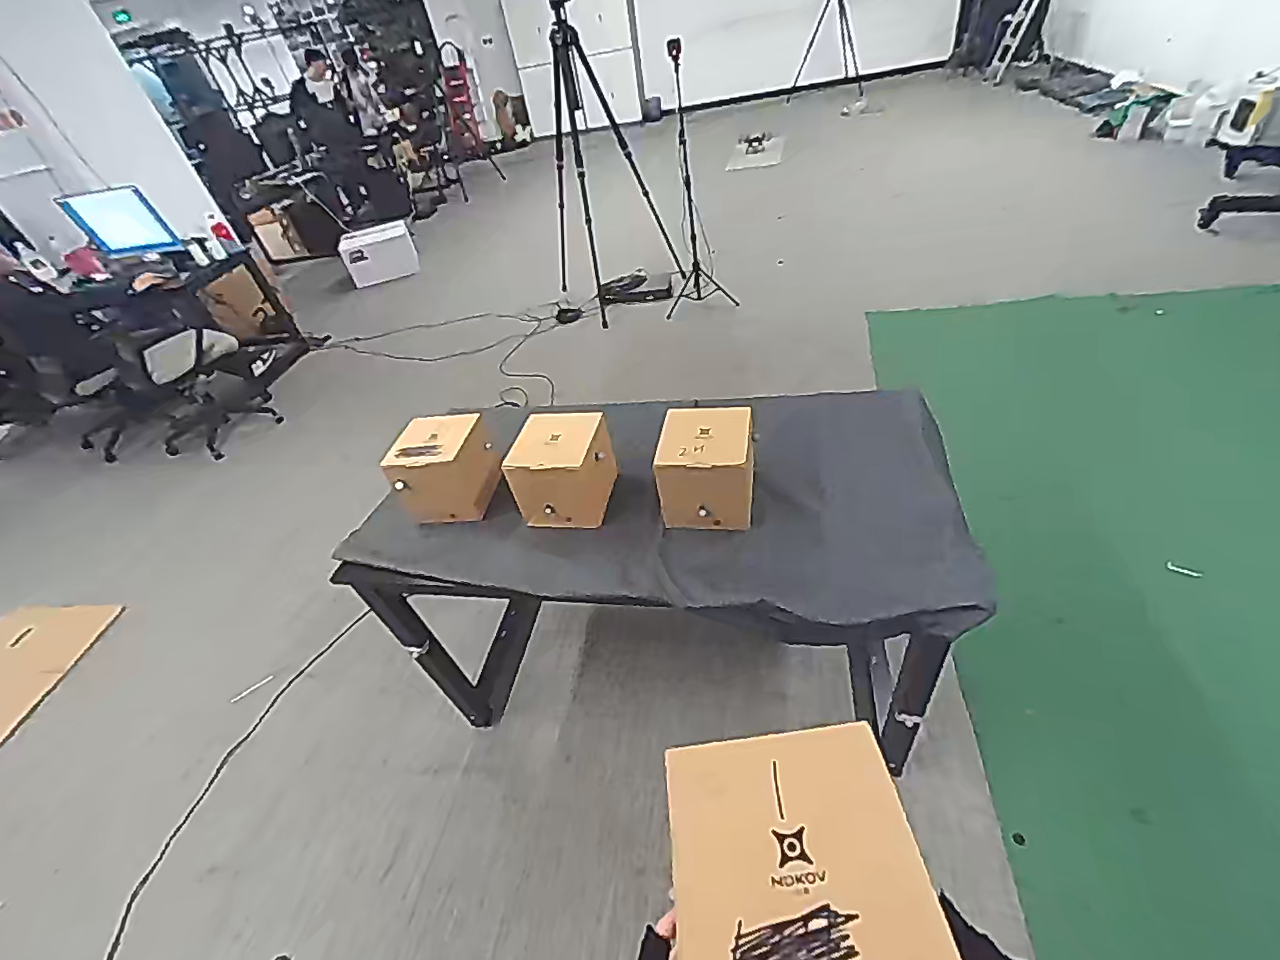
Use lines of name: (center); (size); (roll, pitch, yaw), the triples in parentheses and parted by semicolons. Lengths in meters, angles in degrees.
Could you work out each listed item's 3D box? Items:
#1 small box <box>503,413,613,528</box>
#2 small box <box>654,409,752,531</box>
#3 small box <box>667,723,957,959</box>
small box: (-0.160, -0.022, 1.129); (0.168, 0.176, 0.179); (1, 43, 14)
small box: (0.130, -0.022, 1.058); (0.168, 0.176, 0.179); (1, 43, 15)
small box: (0.119, 0.318, 0.414); (0.168, 0.176, 0.179); (-10, 38, 5)
